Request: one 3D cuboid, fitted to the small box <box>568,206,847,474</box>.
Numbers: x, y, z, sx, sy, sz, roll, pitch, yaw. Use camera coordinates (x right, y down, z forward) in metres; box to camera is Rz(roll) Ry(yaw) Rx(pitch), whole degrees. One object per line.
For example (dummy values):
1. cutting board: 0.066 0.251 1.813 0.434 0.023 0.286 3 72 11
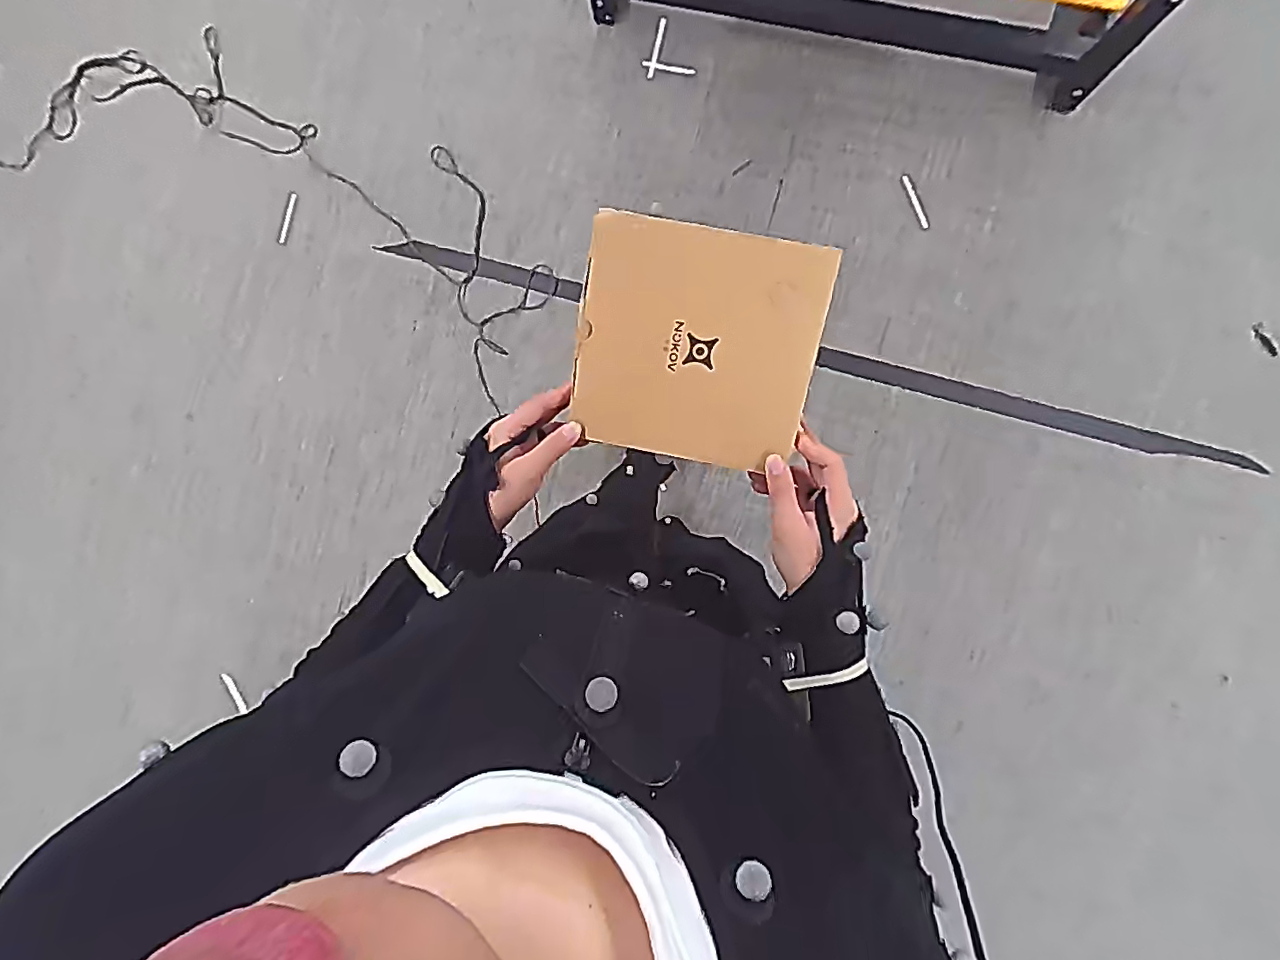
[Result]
1. small box: 0.051 -0.118 0.467 0.179 0.176 0.168 11 106 4
